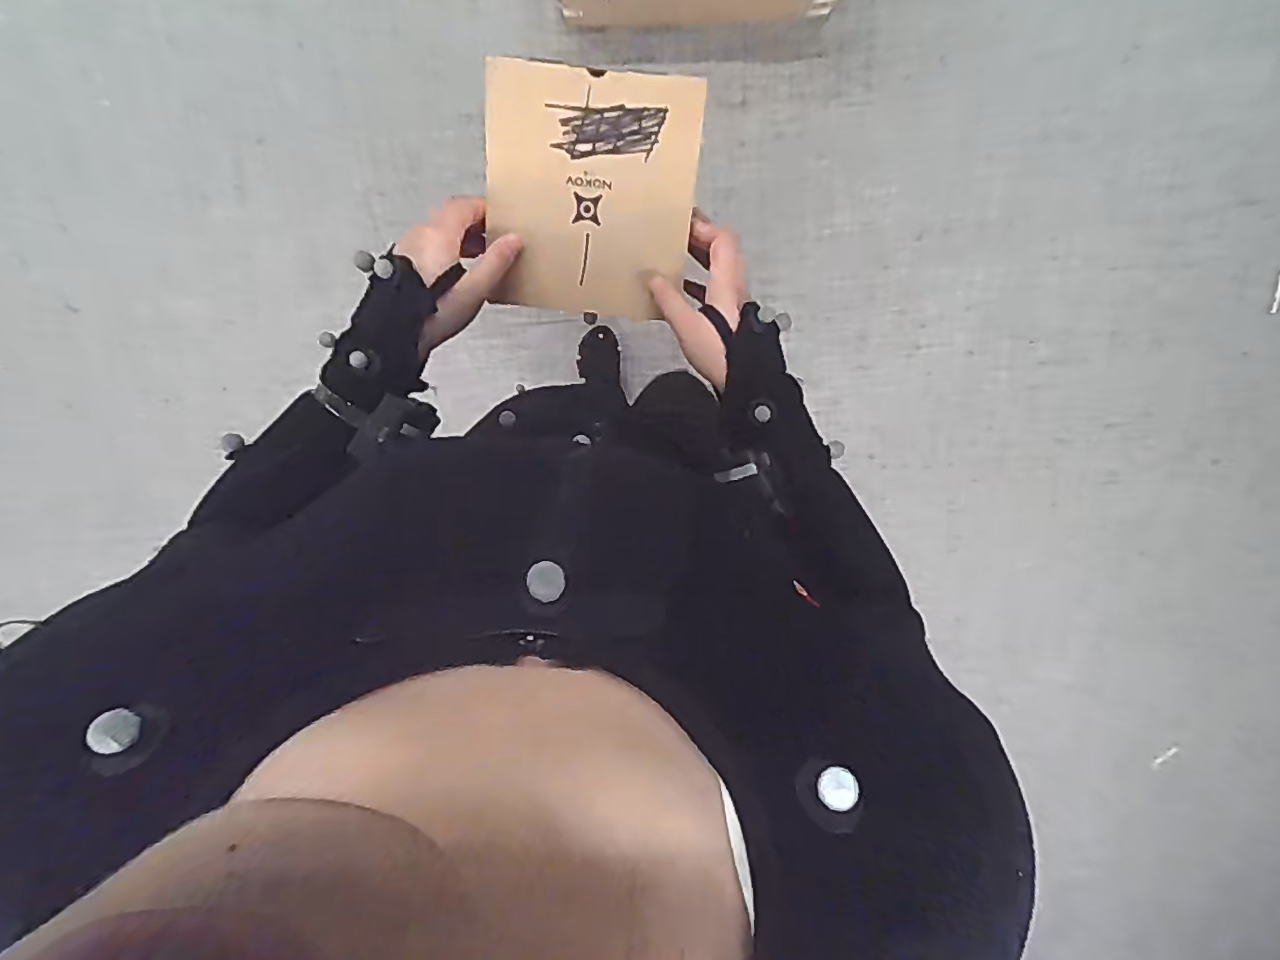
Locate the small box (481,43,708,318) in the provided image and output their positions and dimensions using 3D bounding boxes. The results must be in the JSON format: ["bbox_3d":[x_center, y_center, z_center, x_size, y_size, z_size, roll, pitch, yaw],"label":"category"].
[{"bbox_3d":[-0.038,-0.251,0.493,0.168,0.176,0.179,7,110,0],"label":"small box"}]
